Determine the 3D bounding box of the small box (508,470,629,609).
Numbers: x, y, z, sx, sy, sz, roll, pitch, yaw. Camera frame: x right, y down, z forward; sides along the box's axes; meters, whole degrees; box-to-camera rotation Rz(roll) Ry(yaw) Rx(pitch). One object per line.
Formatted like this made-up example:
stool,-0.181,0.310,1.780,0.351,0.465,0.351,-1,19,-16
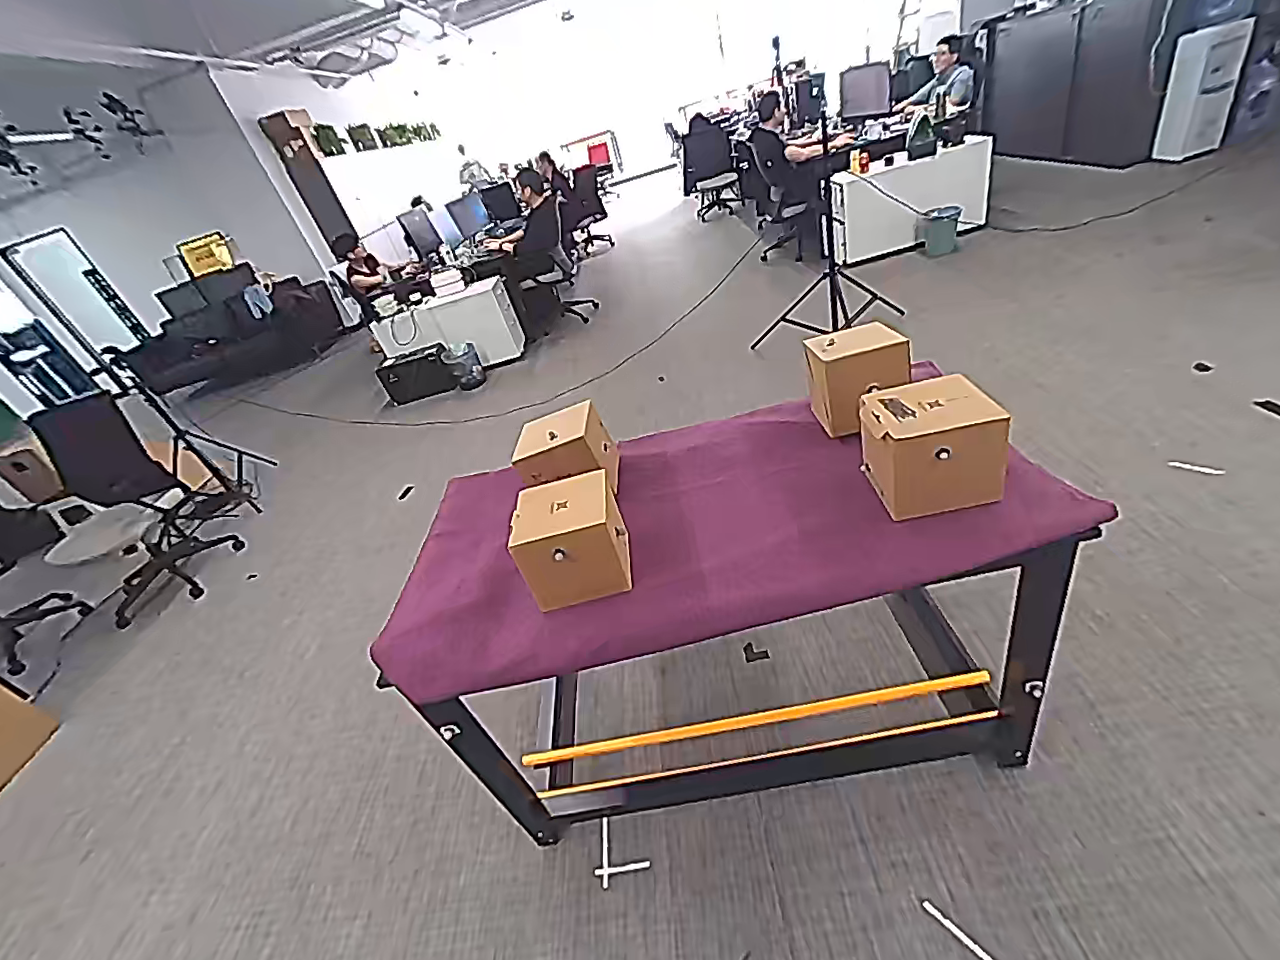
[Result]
small box,-0.122,0.111,1.002,0.179,0.176,0.168,-15,34,5

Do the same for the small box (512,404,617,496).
small box,-0.161,-0.048,1.224,0.179,0.168,0.176,-18,32,13

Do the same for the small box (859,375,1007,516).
small box,0.499,-0.056,0.939,0.179,0.176,0.168,-12,33,9
